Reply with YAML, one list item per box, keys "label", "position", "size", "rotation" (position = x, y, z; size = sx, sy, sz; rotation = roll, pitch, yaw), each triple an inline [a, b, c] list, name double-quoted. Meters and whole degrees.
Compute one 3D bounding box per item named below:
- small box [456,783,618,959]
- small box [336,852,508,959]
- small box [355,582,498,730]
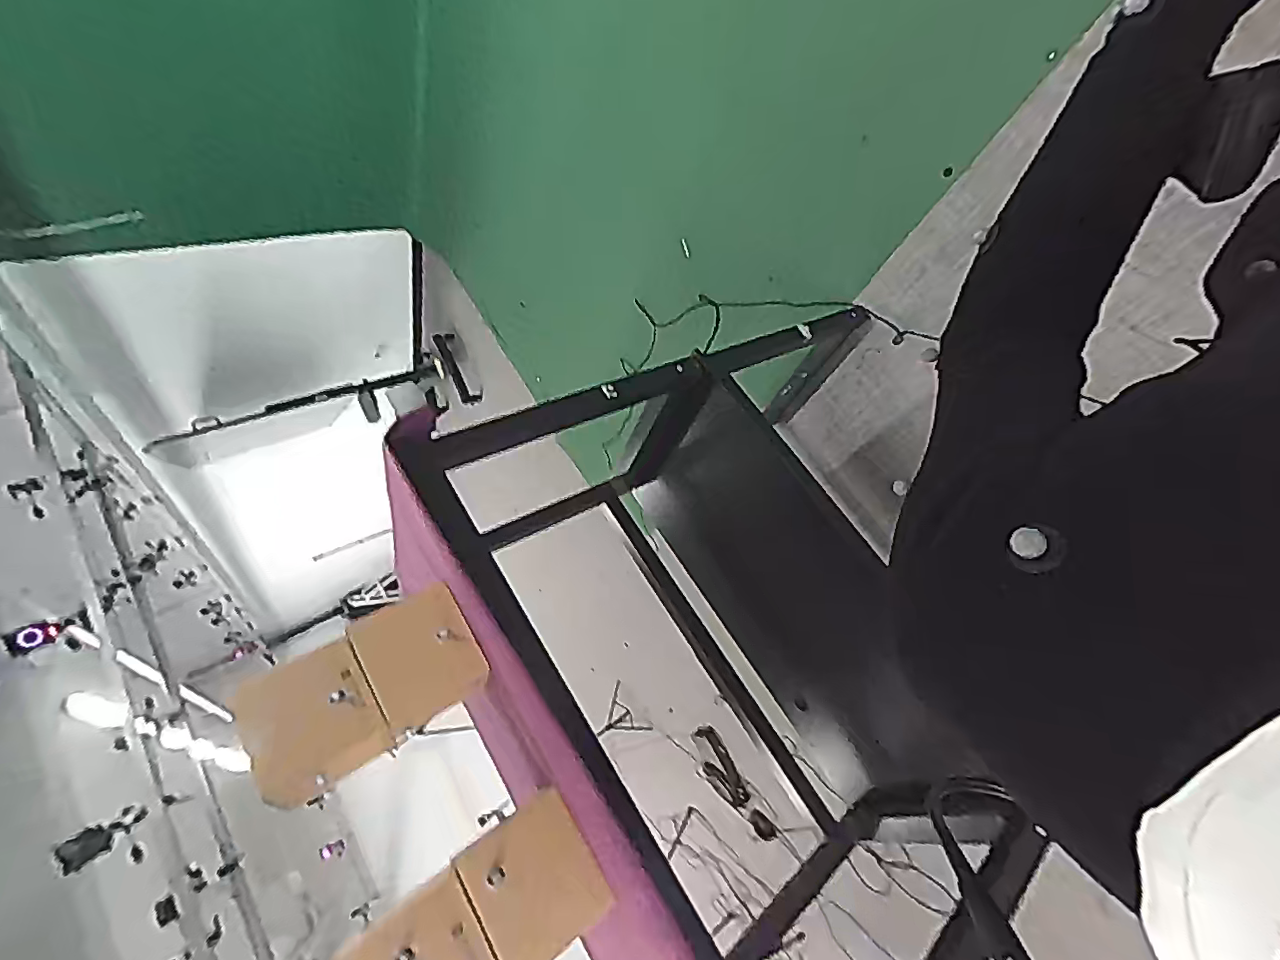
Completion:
- label: "small box"
  position: [-0.163, 0.591, 0.830]
  size: [0.179, 0.176, 0.168]
  rotation: [55, 147, 16]
- label: "small box"
  position: [-0.290, 0.652, 0.747]
  size: [0.168, 0.176, 0.179]
  rotation: [57, 148, 16]
- label: "small box"
  position: [-0.367, 0.298, 0.937]
  size: [0.179, 0.176, 0.168]
  rotation: [55, 148, 17]
